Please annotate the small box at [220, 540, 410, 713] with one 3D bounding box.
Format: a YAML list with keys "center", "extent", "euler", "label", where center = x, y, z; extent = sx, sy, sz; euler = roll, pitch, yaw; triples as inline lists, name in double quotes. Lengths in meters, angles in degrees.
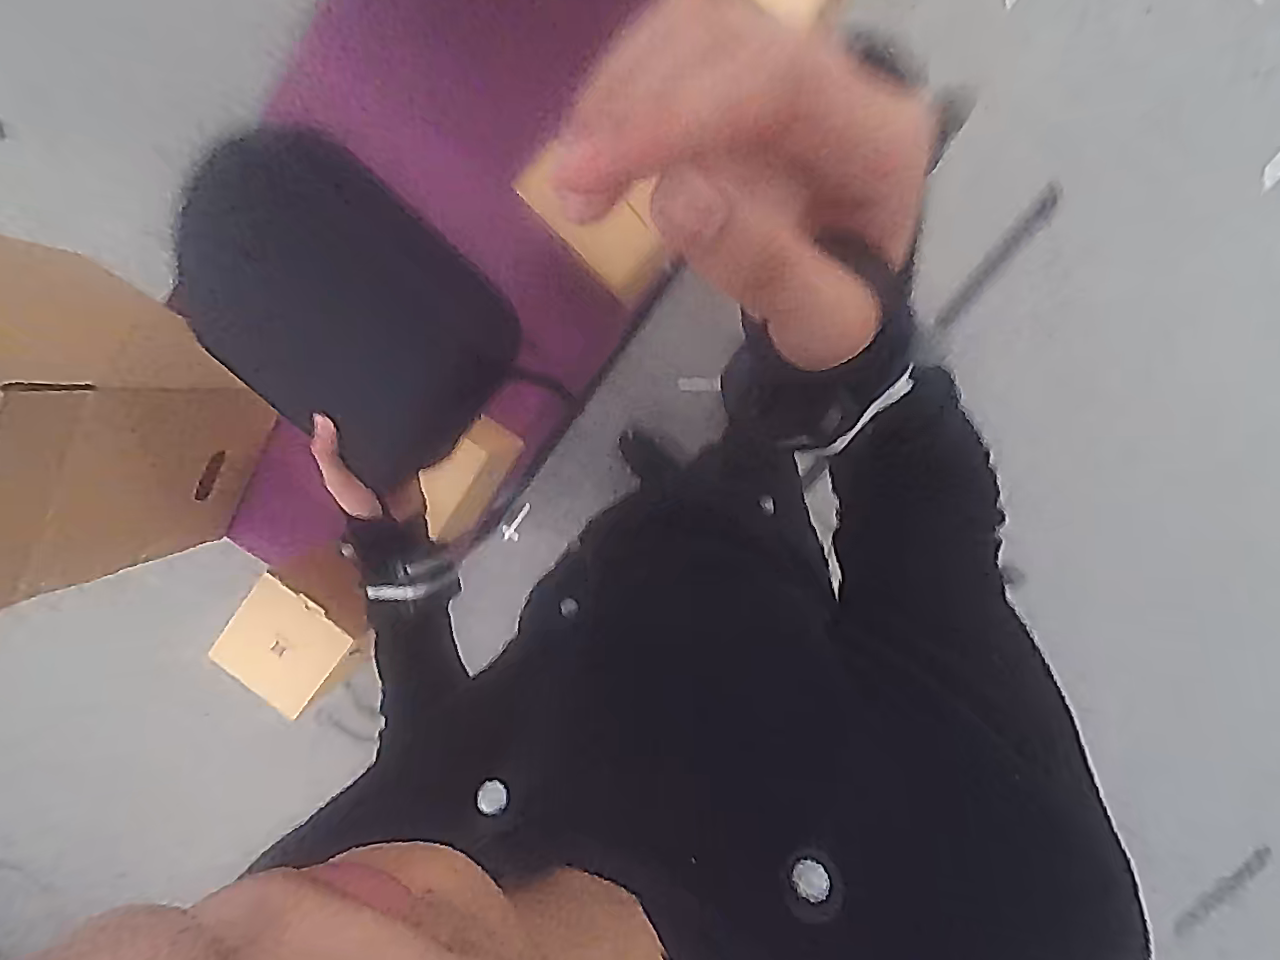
- center: [-0.512, 0.227, 0.879]
  extent: [0.168, 0.176, 0.179]
  euler: [38, 100, -2]
  label: "small box"

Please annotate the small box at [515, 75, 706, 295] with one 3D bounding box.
- center: [-0.032, -0.374, 0.728]
  extent: [0.179, 0.176, 0.168]
  euler: [42, 101, -5]
  label: "small box"
